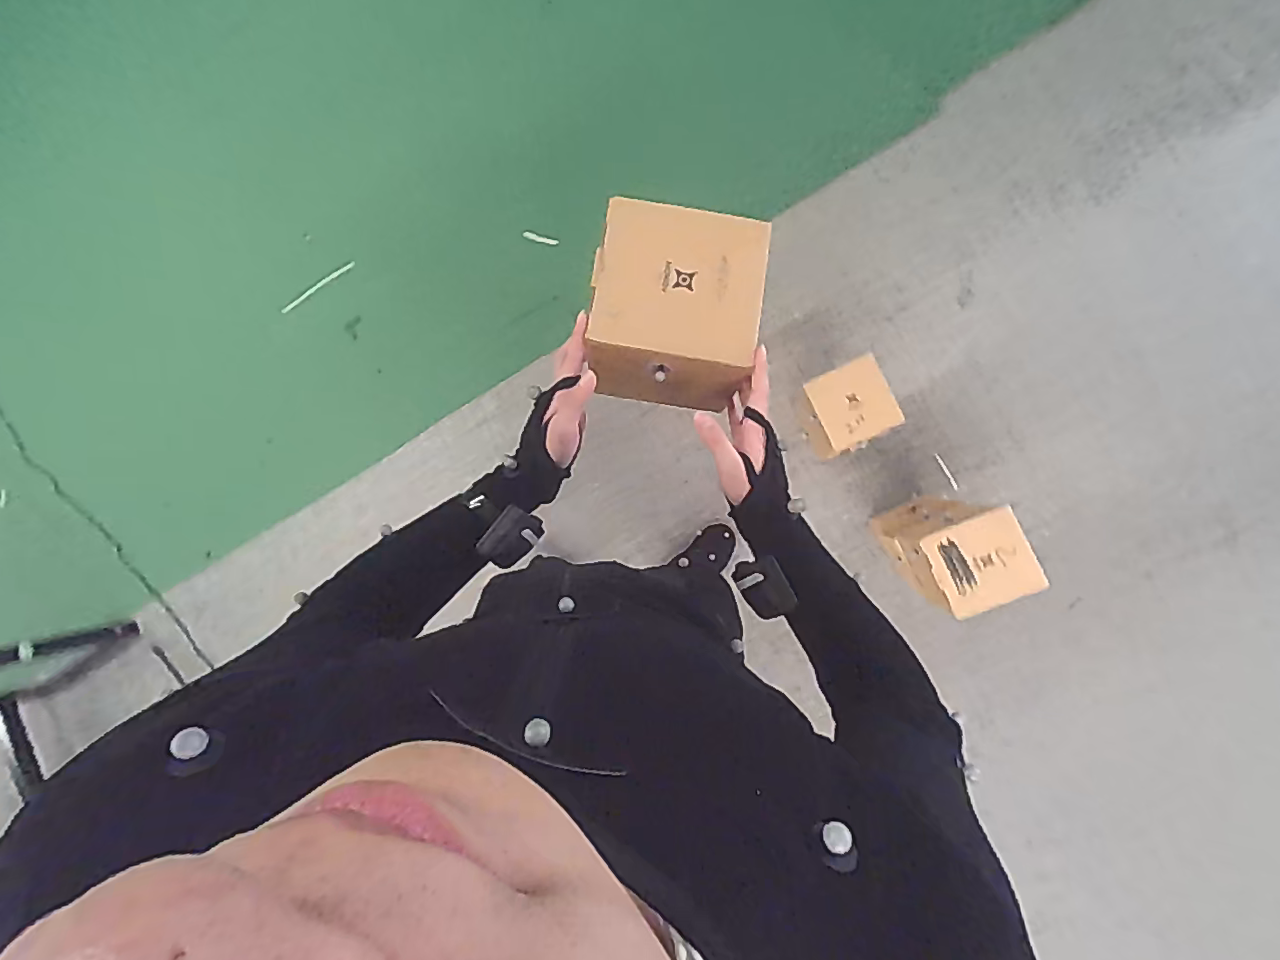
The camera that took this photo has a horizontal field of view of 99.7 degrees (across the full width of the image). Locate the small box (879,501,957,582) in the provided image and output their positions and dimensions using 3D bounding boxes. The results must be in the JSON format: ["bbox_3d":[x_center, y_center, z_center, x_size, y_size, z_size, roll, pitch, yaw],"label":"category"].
[{"bbox_3d":[0.746,0.167,1.395,0.168,0.176,0.179,-27,84,10],"label":"small box"}]

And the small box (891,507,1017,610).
[{"bbox_3d":[0.701,0.175,1.239,0.179,0.176,0.168,-31,82,9],"label":"small box"}]

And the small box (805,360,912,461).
[{"bbox_3d":[0.509,-0.157,1.289,0.168,0.176,0.179,-25,84,10],"label":"small box"}]

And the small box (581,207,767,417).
[{"bbox_3d":[0.035,-0.182,0.633,0.179,0.176,0.168,8,79,-1],"label":"small box"}]

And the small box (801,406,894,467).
[{"bbox_3d":[0.547,-0.145,1.449,0.168,0.176,0.179,-26,84,10],"label":"small box"}]
